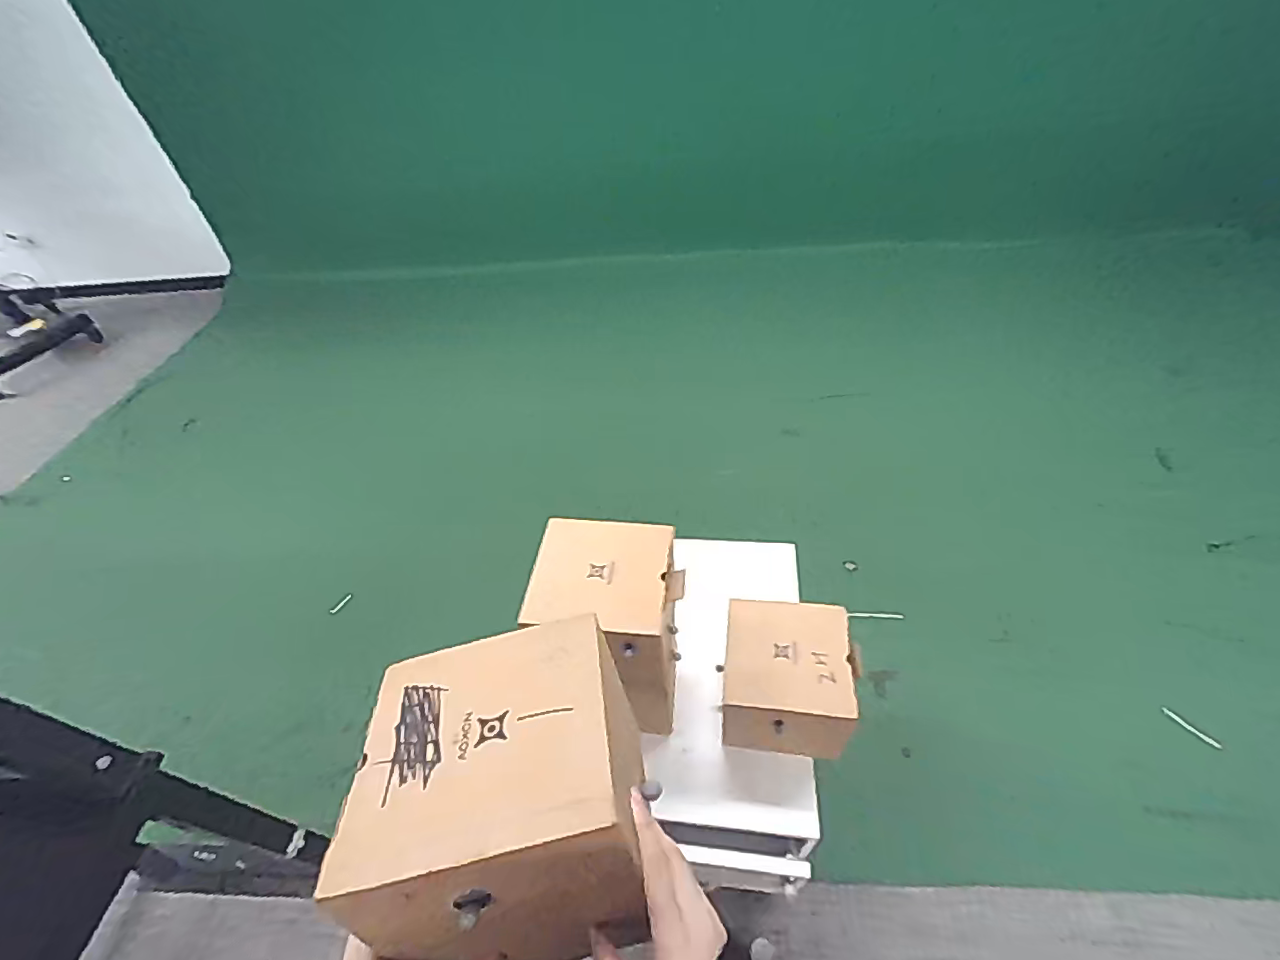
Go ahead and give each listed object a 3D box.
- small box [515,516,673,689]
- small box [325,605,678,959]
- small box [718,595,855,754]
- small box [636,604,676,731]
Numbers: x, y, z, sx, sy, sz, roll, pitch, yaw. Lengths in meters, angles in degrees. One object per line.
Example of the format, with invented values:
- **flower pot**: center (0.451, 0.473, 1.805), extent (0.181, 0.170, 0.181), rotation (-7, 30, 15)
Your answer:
- **small box**: center (-0.049, 0.167, 0.736), extent (0.179, 0.176, 0.168), rotation (3, 47, 7)
- **small box**: center (-0.082, 0.228, 0.402), extent (0.179, 0.176, 0.168), rotation (-14, 32, -1)
- **small box**: center (0.210, 0.293, 0.810), extent (0.179, 0.176, 0.168), rotation (3, 48, 10)
- **small box**: center (-0.037, 0.281, 0.853), extent (0.179, 0.176, 0.168), rotation (1, 47, 7)
